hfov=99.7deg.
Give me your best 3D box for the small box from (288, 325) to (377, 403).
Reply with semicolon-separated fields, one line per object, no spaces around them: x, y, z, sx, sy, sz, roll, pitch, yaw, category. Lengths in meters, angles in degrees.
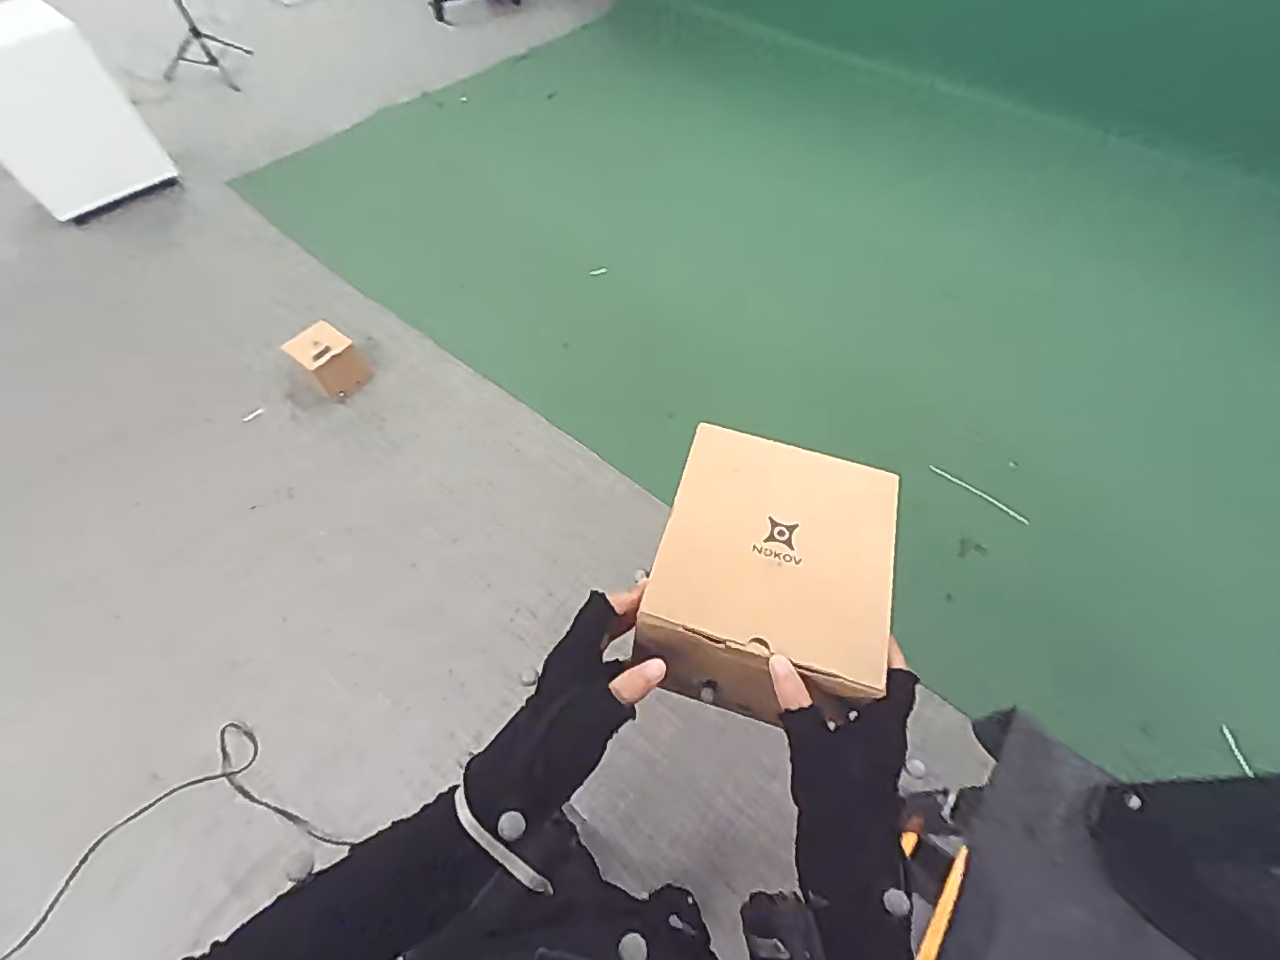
-1.046;-0.392;1.856;0.179;0.176;0.168;33;63;19;small box
